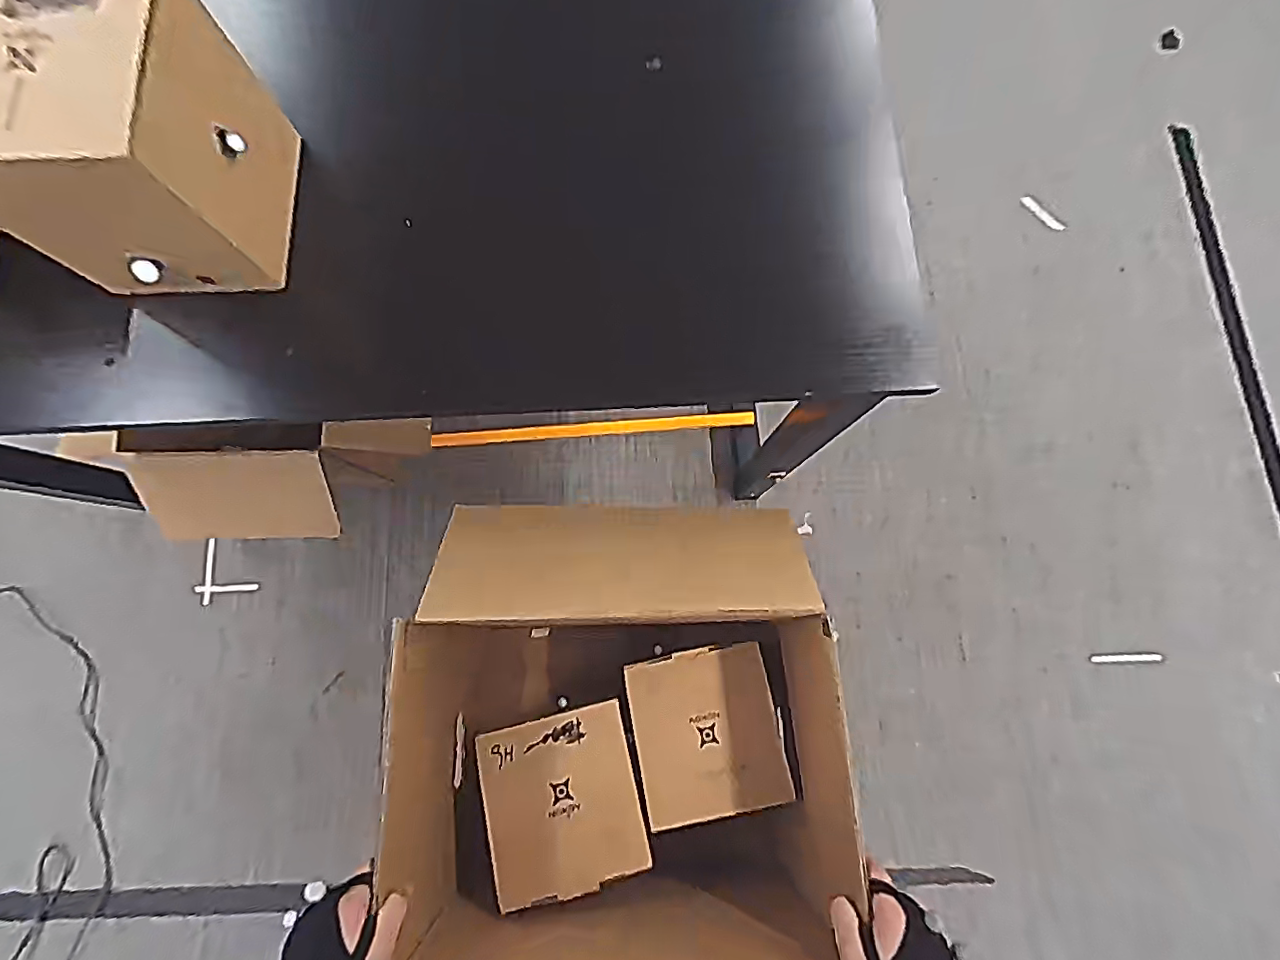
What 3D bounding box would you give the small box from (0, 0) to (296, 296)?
[{"bbox_3d":[-0.426,-0.279,0.459,0.168,0.176,0.179,-2,79,-1],"label":"small box"}]
